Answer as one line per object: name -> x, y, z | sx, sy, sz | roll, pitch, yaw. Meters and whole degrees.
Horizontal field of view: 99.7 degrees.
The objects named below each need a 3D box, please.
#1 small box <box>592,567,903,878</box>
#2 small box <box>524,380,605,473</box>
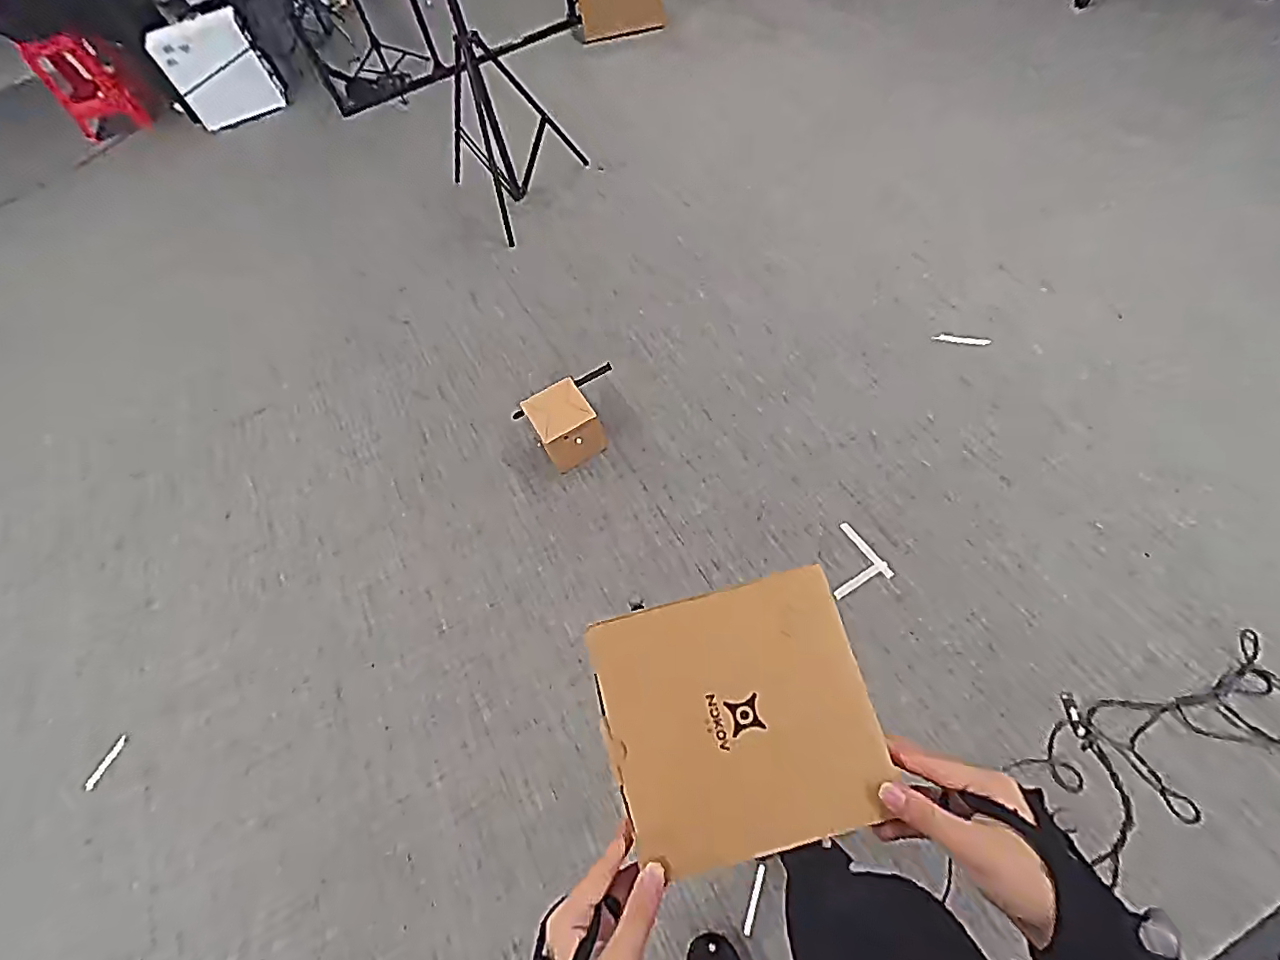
small box -> 0.071, 0.174, 0.441 | 0.179, 0.176, 0.168 | -15, 76, 0
small box -> -0.224, -0.162, 1.590 | 0.168, 0.176, 0.179 | -31, 61, -9
